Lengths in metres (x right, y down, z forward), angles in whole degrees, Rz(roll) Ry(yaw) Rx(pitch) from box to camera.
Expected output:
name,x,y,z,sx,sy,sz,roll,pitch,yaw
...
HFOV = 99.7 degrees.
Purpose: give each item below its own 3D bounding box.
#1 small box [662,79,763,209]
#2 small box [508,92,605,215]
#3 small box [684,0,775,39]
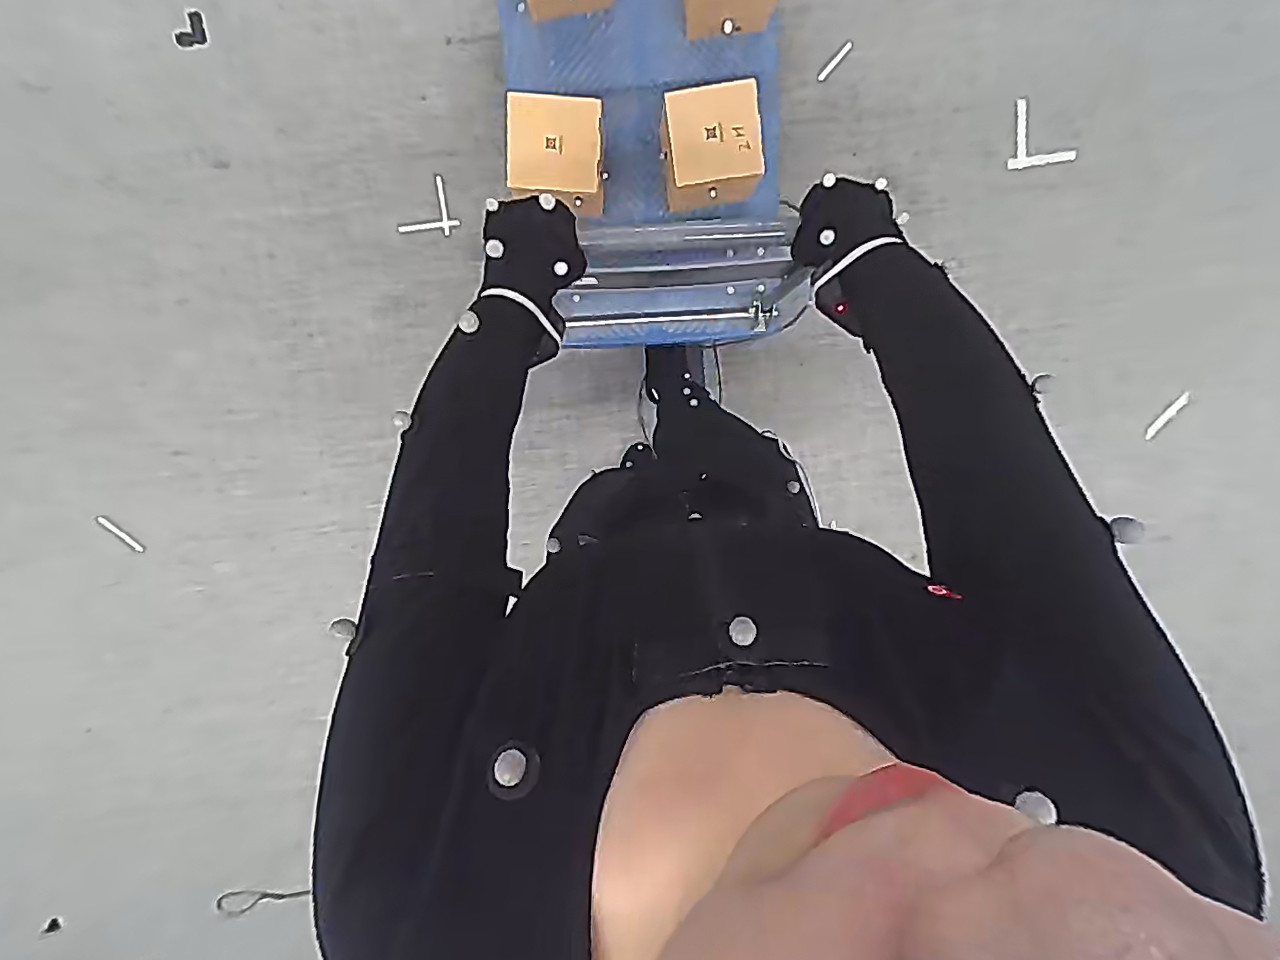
name,x,y,z,sx,sy,sz,roll,pitch,yaw
small box,0.140,-0.674,1.106,0.179,0.176,0.168,-9,101,0
small box,-0.165,-0.654,1.103,0.179,0.176,0.168,2,101,-3
small box,0.173,-1.005,1.043,0.168,0.176,0.179,-7,102,0
